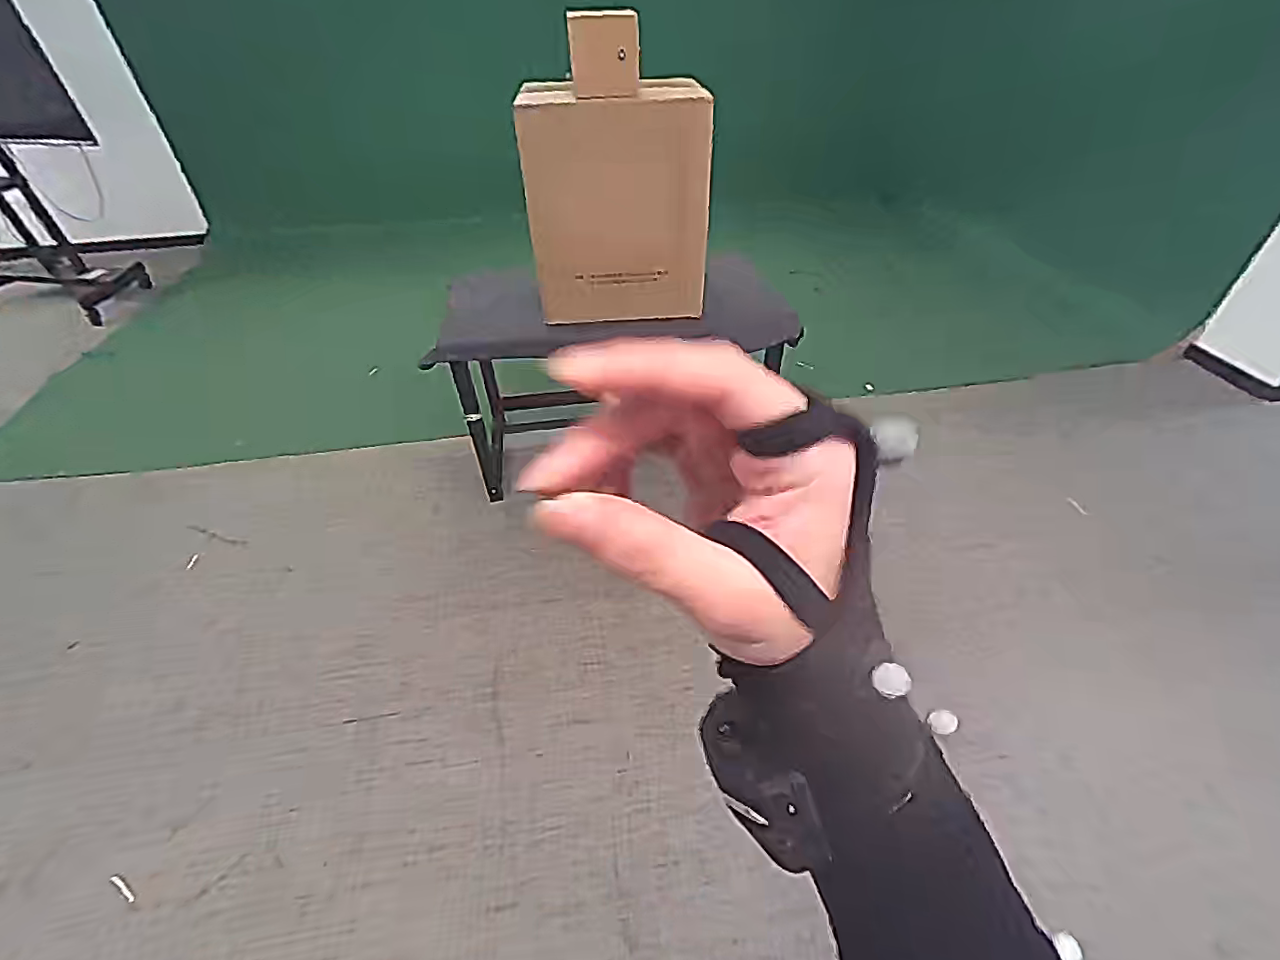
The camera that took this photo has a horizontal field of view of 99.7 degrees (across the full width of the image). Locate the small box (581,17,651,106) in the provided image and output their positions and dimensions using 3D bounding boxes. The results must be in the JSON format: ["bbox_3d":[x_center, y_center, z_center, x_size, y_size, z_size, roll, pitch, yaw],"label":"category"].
[{"bbox_3d":[-0.063,-1.121,1.449,0.179,0.176,0.168,-5,44,-2],"label":"small box"}]
